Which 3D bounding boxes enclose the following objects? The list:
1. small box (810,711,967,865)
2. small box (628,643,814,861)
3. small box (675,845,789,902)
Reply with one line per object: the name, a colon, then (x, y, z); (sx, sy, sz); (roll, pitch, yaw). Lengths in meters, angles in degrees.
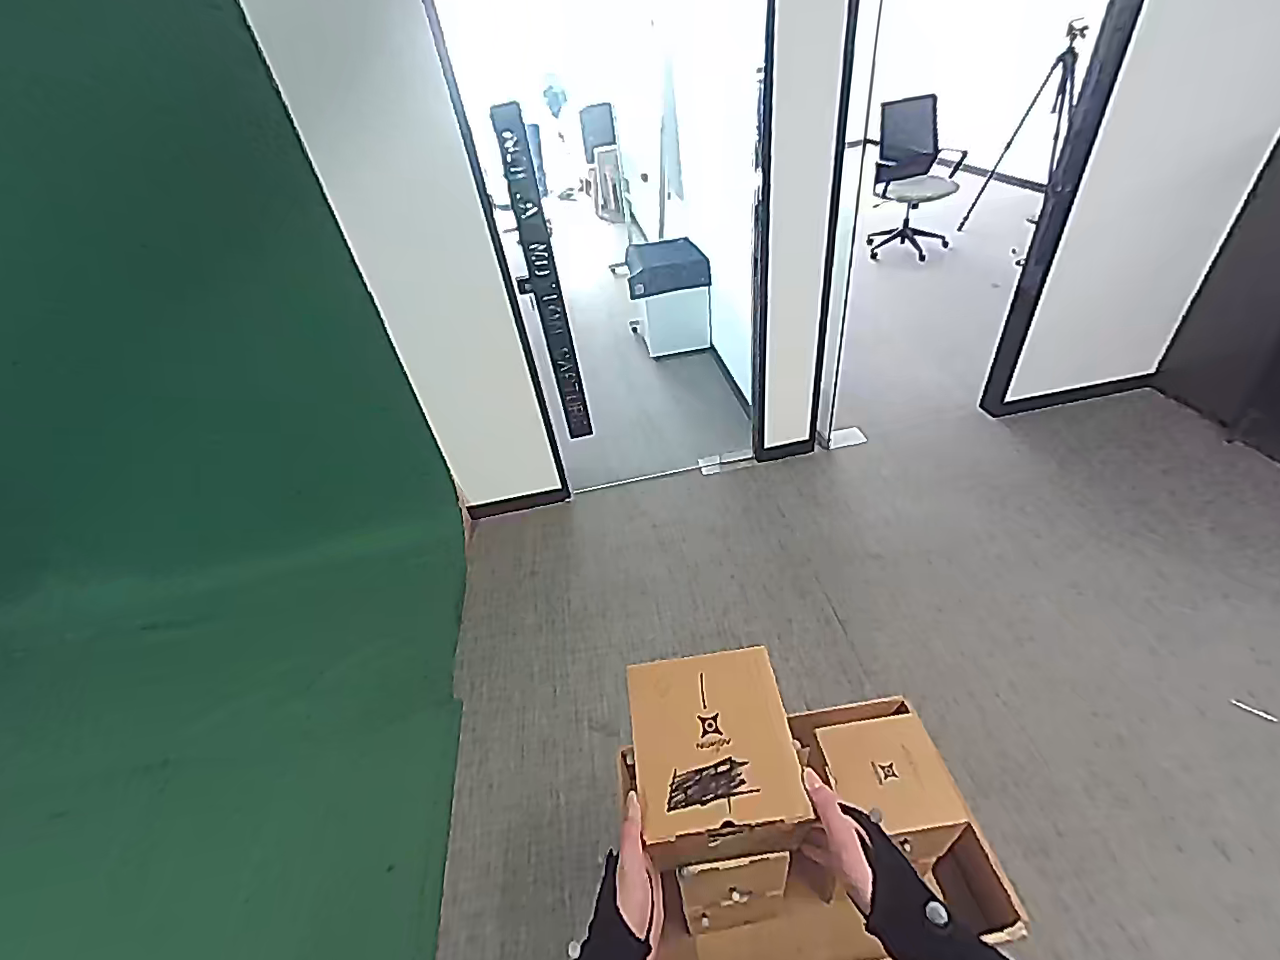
small box: (0.390, 0.509, 0.890); (0.179, 0.176, 0.168); (-8, 41, -1)
small box: (0.083, 0.314, 0.615); (0.168, 0.176, 0.179); (-8, 46, -1)
small box: (0.131, 0.549, 0.881); (0.168, 0.176, 0.179); (-10, 39, -1)
